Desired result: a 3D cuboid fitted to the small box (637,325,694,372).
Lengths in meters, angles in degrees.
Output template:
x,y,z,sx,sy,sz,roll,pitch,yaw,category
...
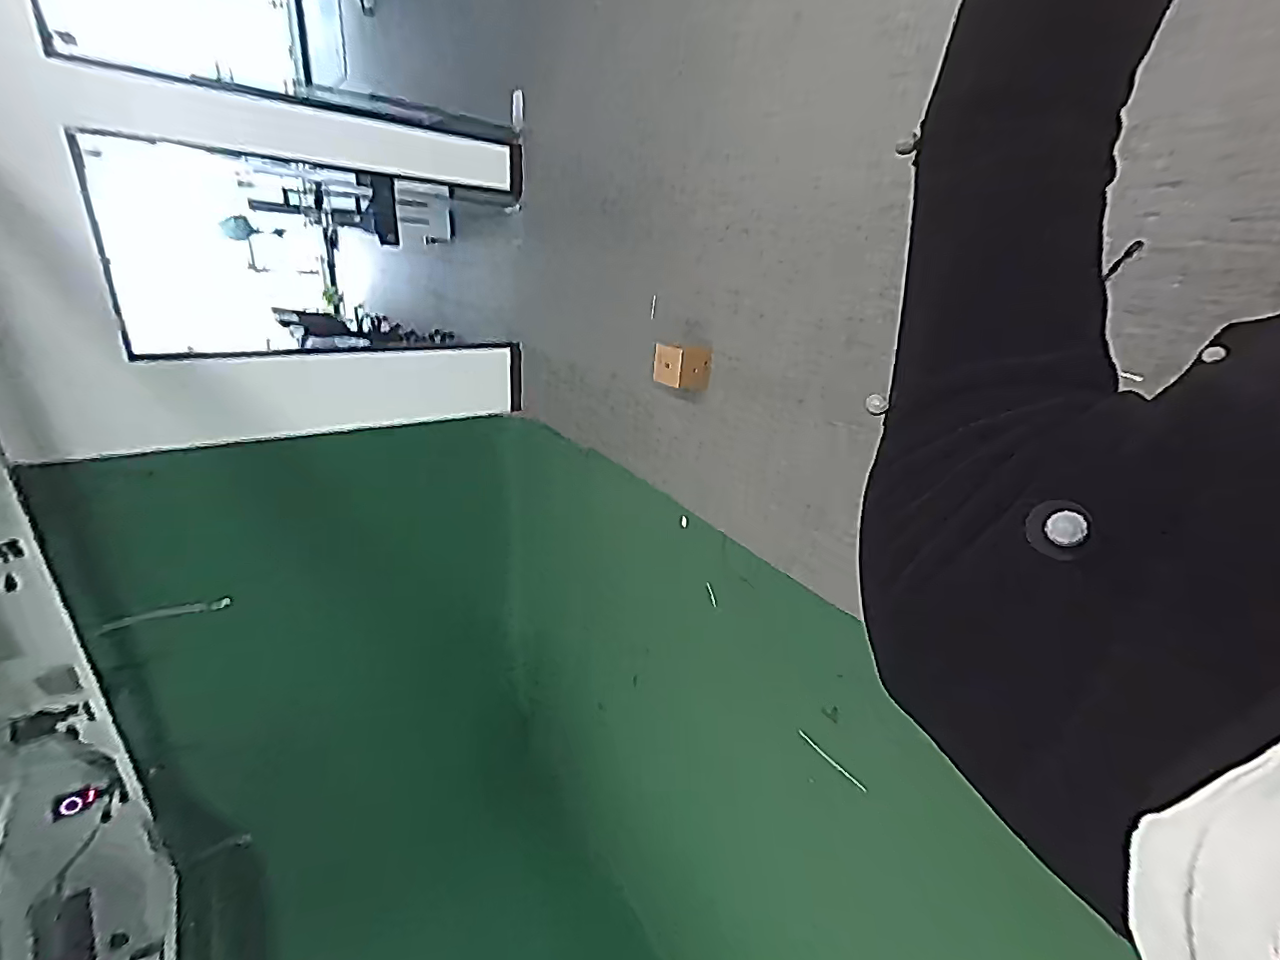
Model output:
x,y,z,sx,sy,sz,roll,pitch,yaw,category
0.112,-0.575,2.339,0.179,0.176,0.168,33,125,44,small box
